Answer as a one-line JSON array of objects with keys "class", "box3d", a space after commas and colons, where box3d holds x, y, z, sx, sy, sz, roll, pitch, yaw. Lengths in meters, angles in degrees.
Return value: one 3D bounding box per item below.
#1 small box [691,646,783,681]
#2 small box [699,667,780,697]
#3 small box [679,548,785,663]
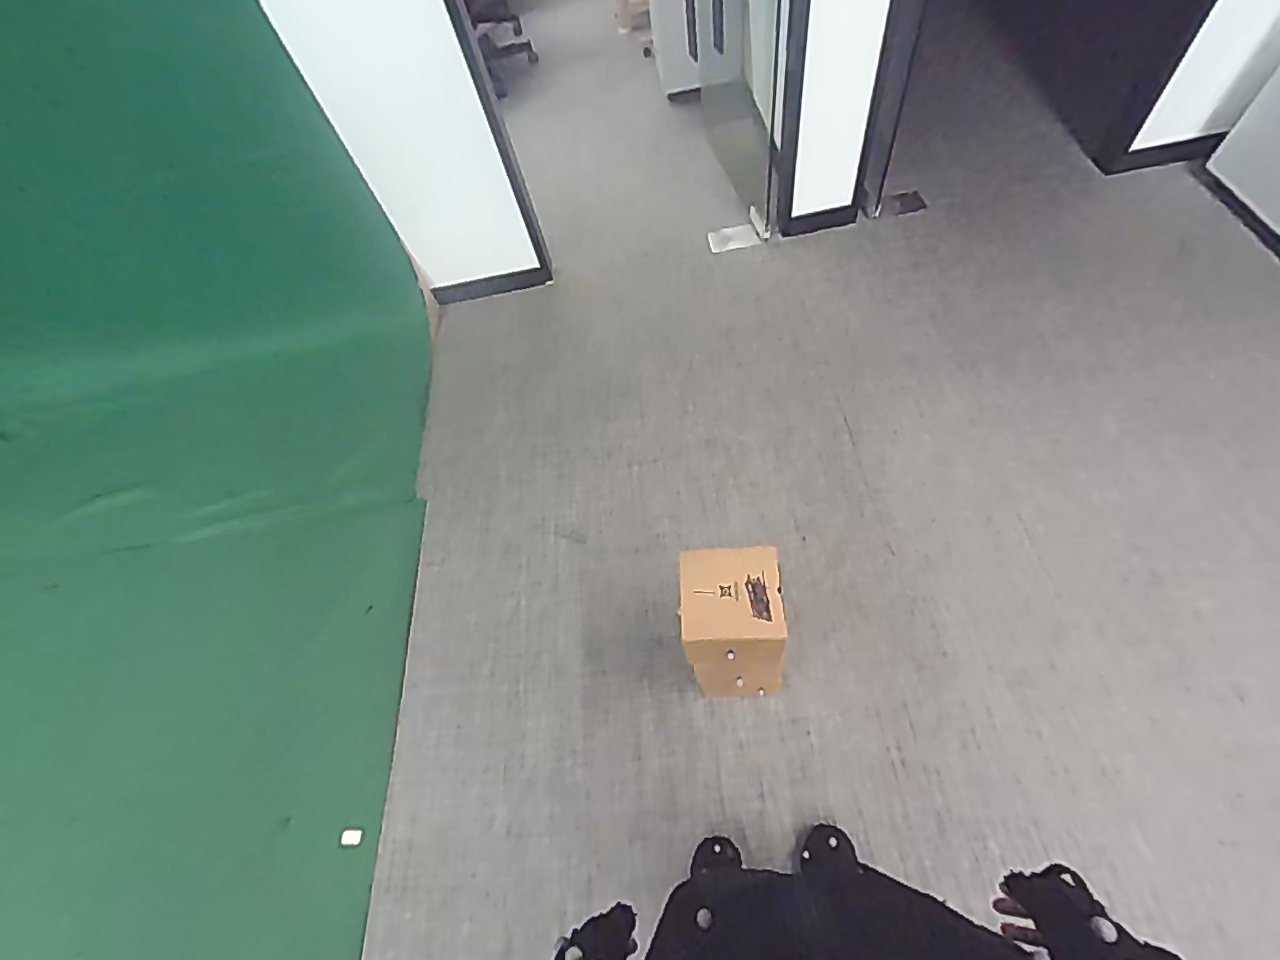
[{"class": "small box", "box3d": [0.196, 0.322, 1.140, 0.179, 0.176, 0.168, -4, 58, 7]}, {"class": "small box", "box3d": [0.225, 0.409, 1.276, 0.179, 0.176, 0.168, -7, 57, 7]}, {"class": "small box", "box3d": [0.168, 0.236, 1.002, 0.179, 0.176, 0.168, -4, 58, 10]}]
